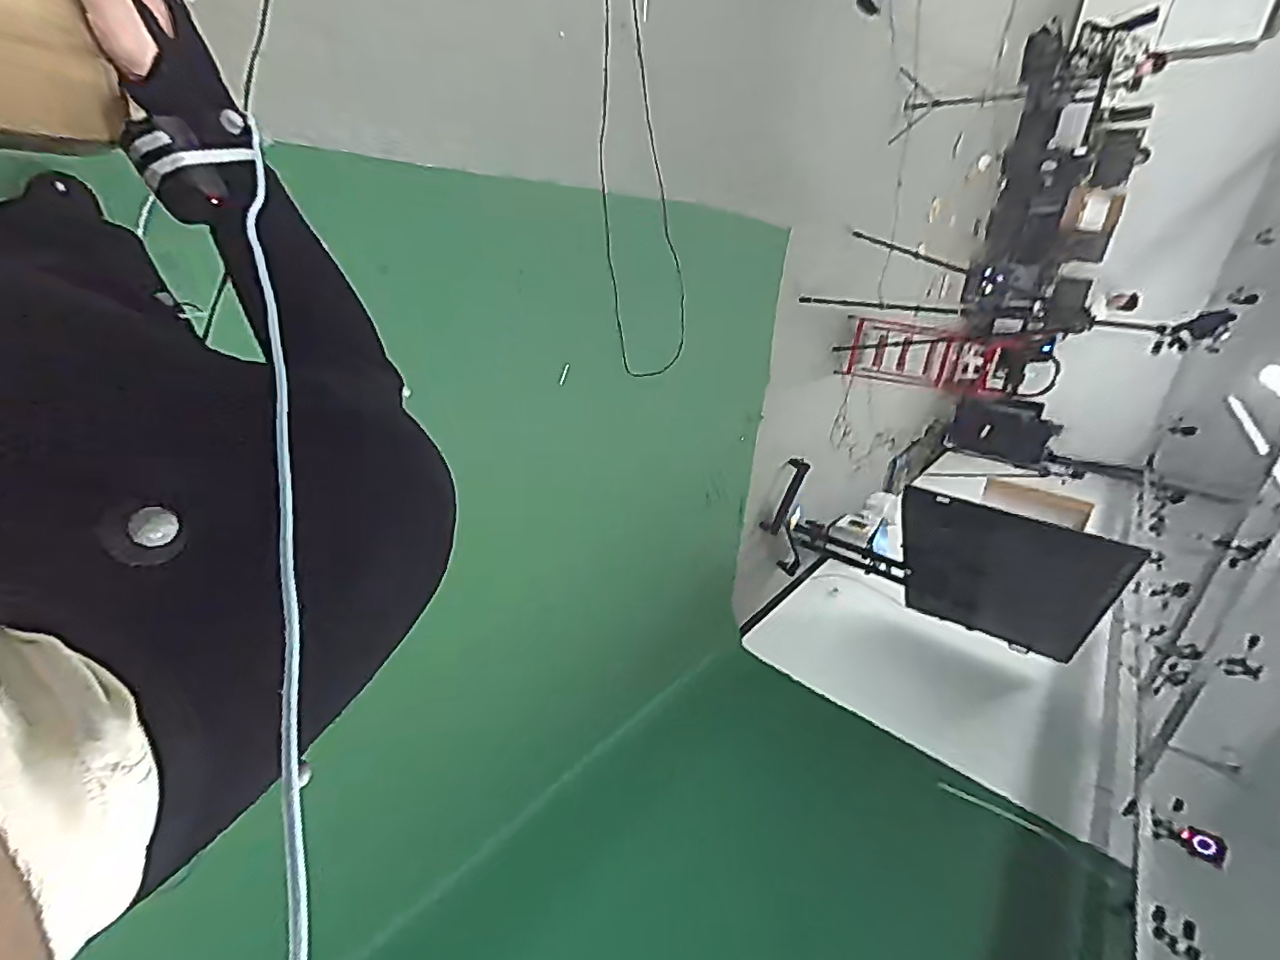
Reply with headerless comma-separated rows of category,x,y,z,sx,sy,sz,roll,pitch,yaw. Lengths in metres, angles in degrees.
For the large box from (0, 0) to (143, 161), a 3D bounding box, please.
large box,-0.636,-0.399,0.334,0.408,0.320,0.320,-20,125,-41
